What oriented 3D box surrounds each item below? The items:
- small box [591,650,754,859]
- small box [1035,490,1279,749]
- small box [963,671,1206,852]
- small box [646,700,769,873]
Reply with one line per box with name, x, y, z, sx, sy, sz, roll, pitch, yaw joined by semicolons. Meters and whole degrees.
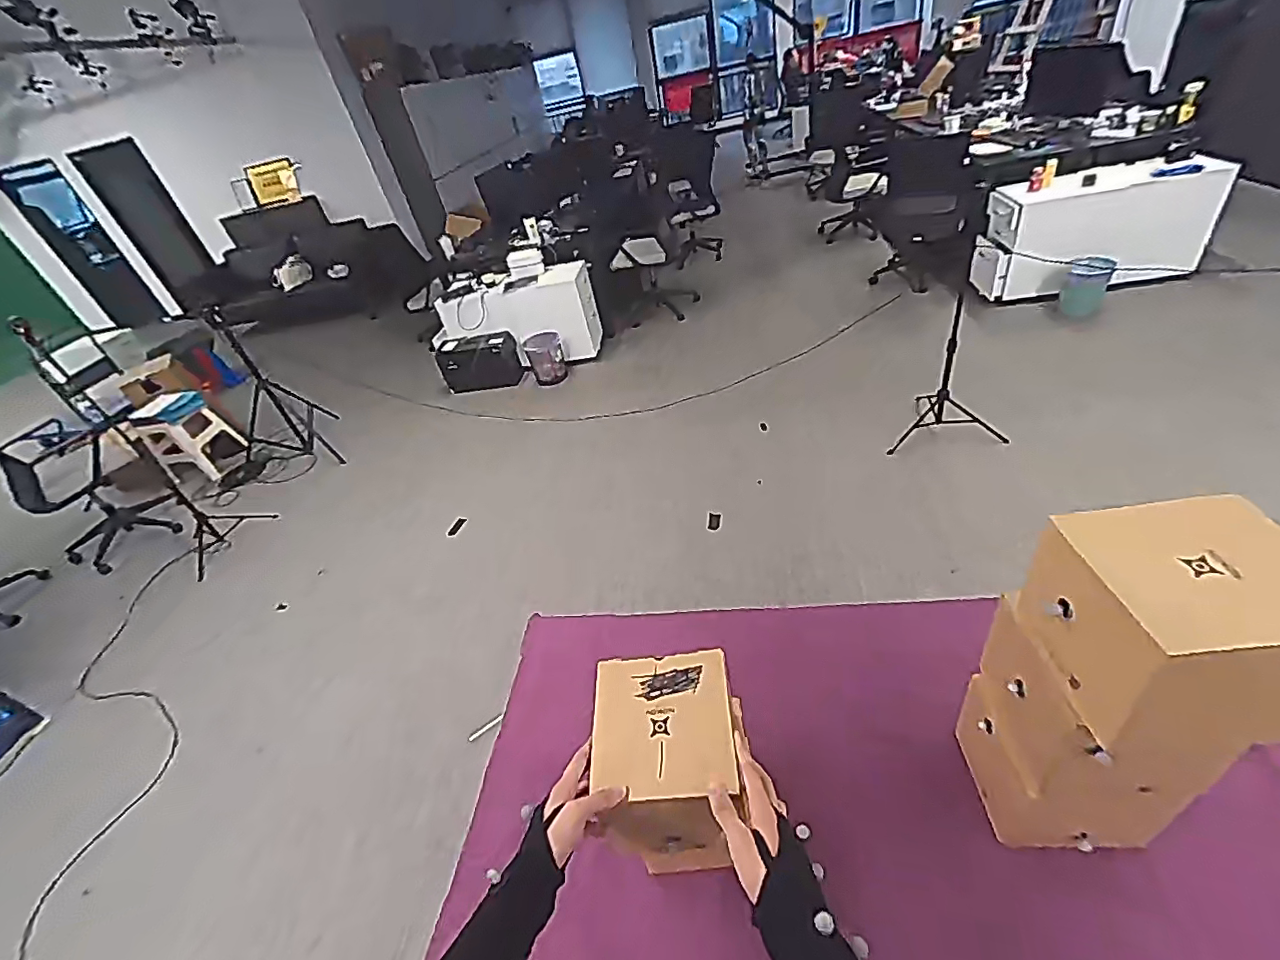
small box;0.044;0.340;0.673;0.168;0.176;0.179;-9;39;8
small box;0.515;0.135;0.514;0.179;0.176;0.168;-9;37;7
small box;0.570;0.378;0.728;0.179;0.176;0.168;-6;38;9
small box;0.083;0.450;0.791;0.179;0.176;0.168;-9;38;5
